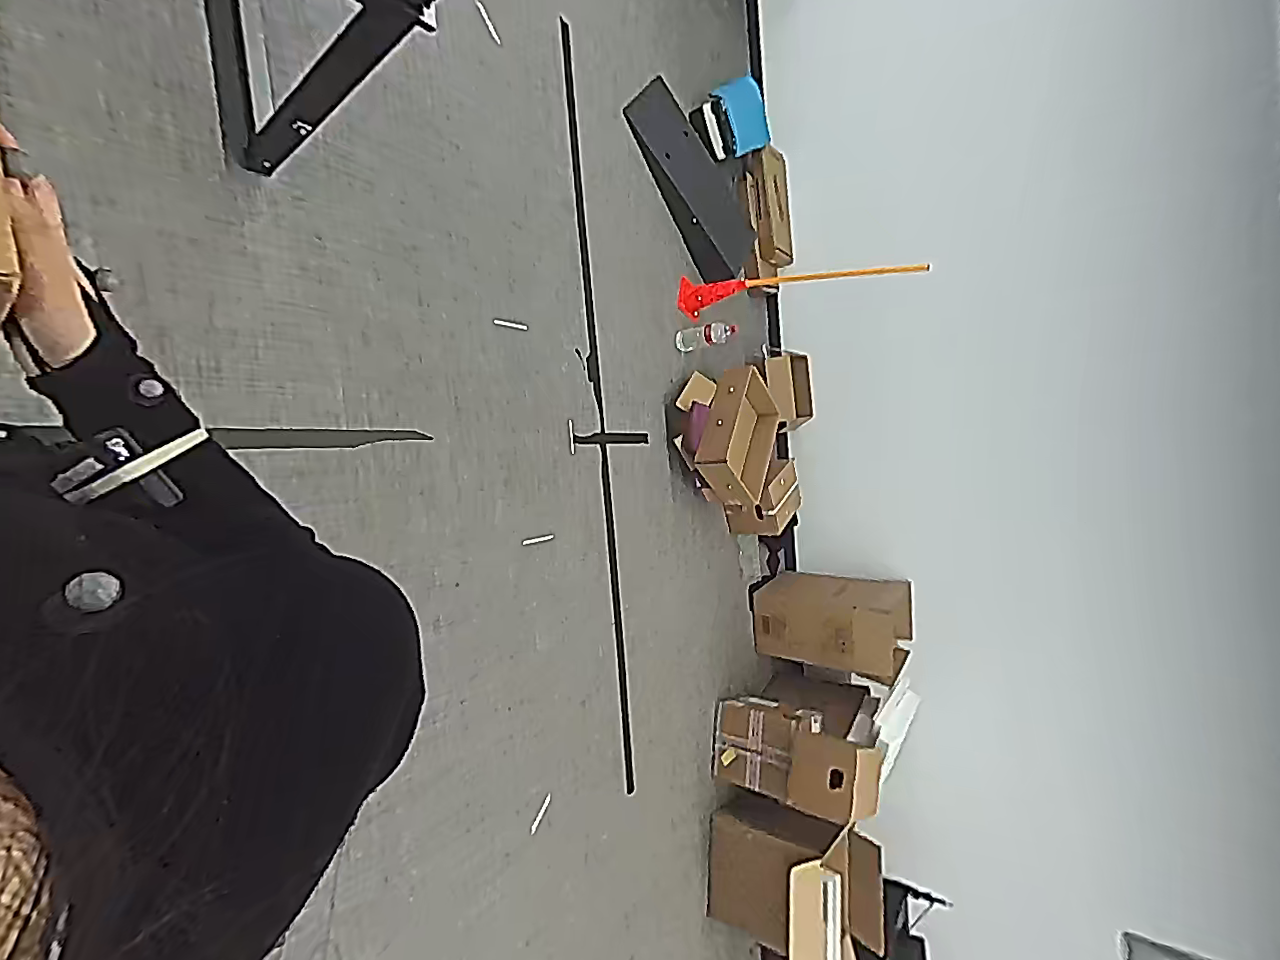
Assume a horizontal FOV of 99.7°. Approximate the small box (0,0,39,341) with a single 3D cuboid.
[{"bbox_3d":[-0.423,-0.168,0.250,0.168,0.176,0.179,-9,91,-55],"label":"small box"}]
